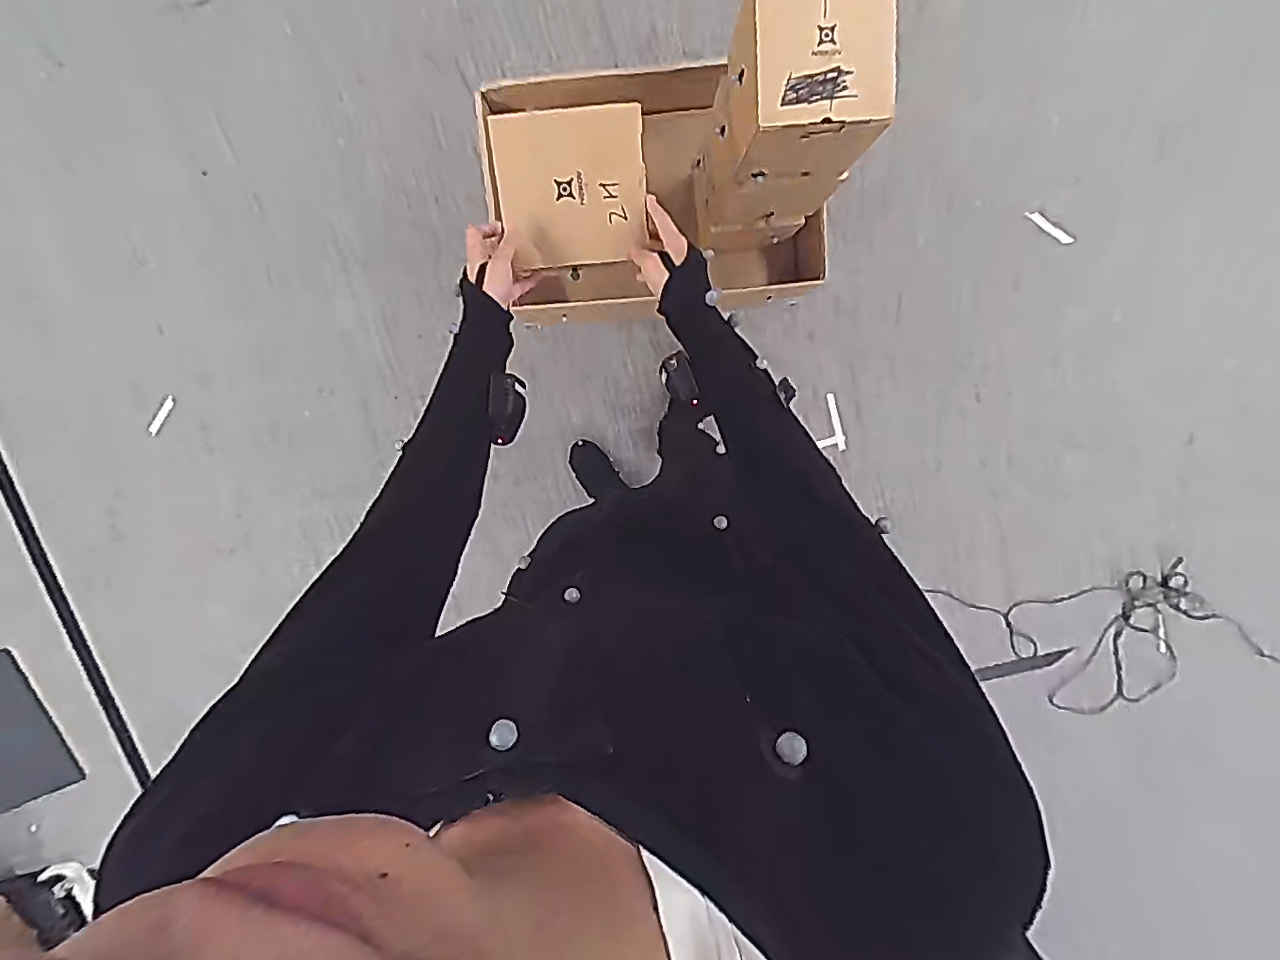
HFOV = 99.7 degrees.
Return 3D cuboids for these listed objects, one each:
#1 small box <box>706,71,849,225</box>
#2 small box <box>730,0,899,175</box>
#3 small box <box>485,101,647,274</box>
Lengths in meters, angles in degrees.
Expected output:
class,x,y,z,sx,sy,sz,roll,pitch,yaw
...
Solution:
class,x,y,z,sx,sy,sz,roll,pitch,yaw
small box,0.211,-0.525,0.863,0.179,0.176,0.168,-8,99,-1
small box,0.212,-0.514,0.697,0.168,0.176,0.179,-4,98,-1
small box,-0.082,-0.361,0.697,0.179,0.176,0.168,-4,109,0
